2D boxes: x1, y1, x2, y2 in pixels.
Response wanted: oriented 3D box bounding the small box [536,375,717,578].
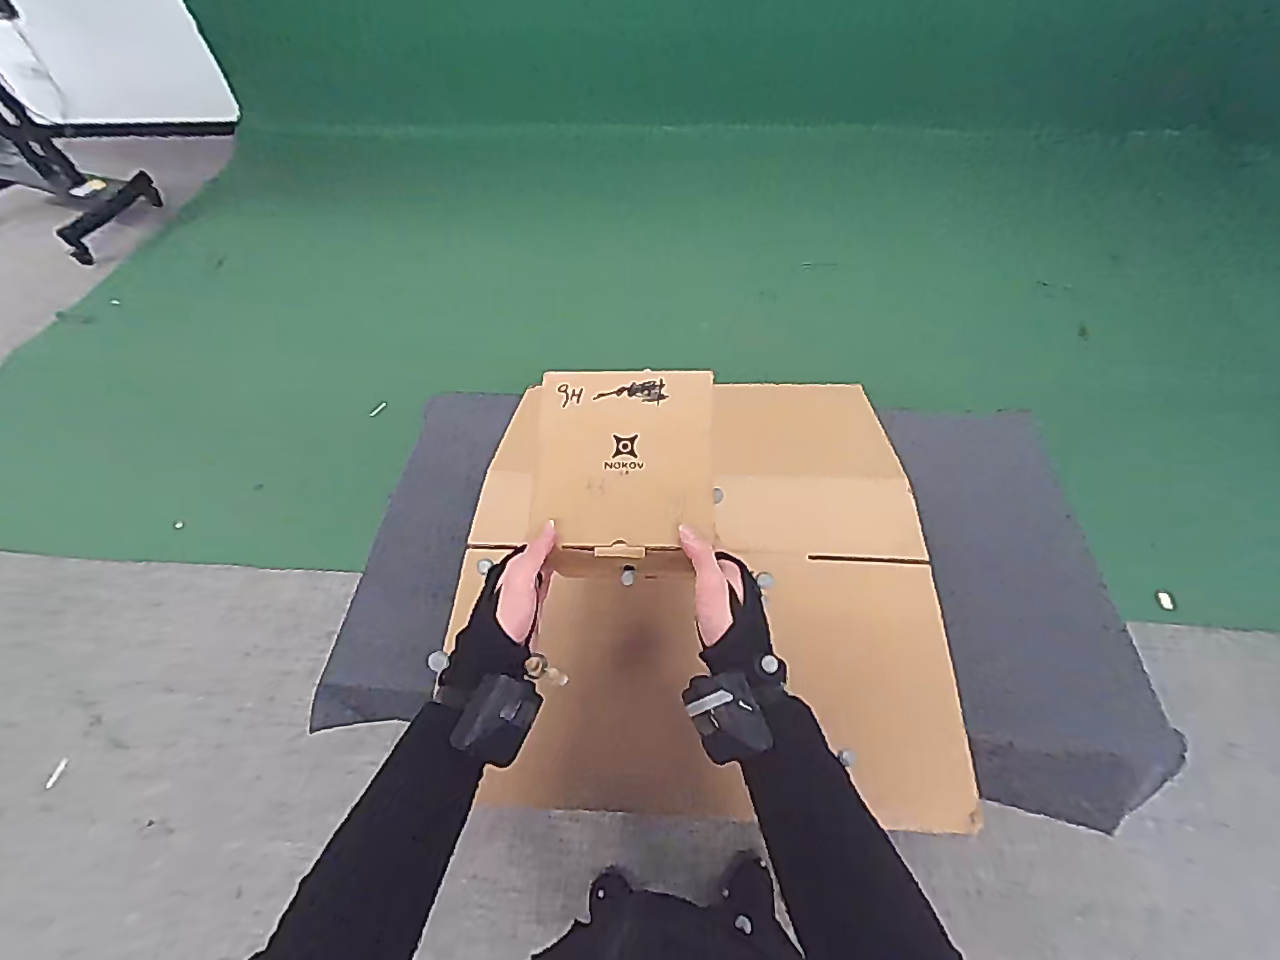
[{"bbox_3d":[-0.005,0.008,0.577,0.168,0.176,0.179,-2,70,4],"label":"small box"}]
